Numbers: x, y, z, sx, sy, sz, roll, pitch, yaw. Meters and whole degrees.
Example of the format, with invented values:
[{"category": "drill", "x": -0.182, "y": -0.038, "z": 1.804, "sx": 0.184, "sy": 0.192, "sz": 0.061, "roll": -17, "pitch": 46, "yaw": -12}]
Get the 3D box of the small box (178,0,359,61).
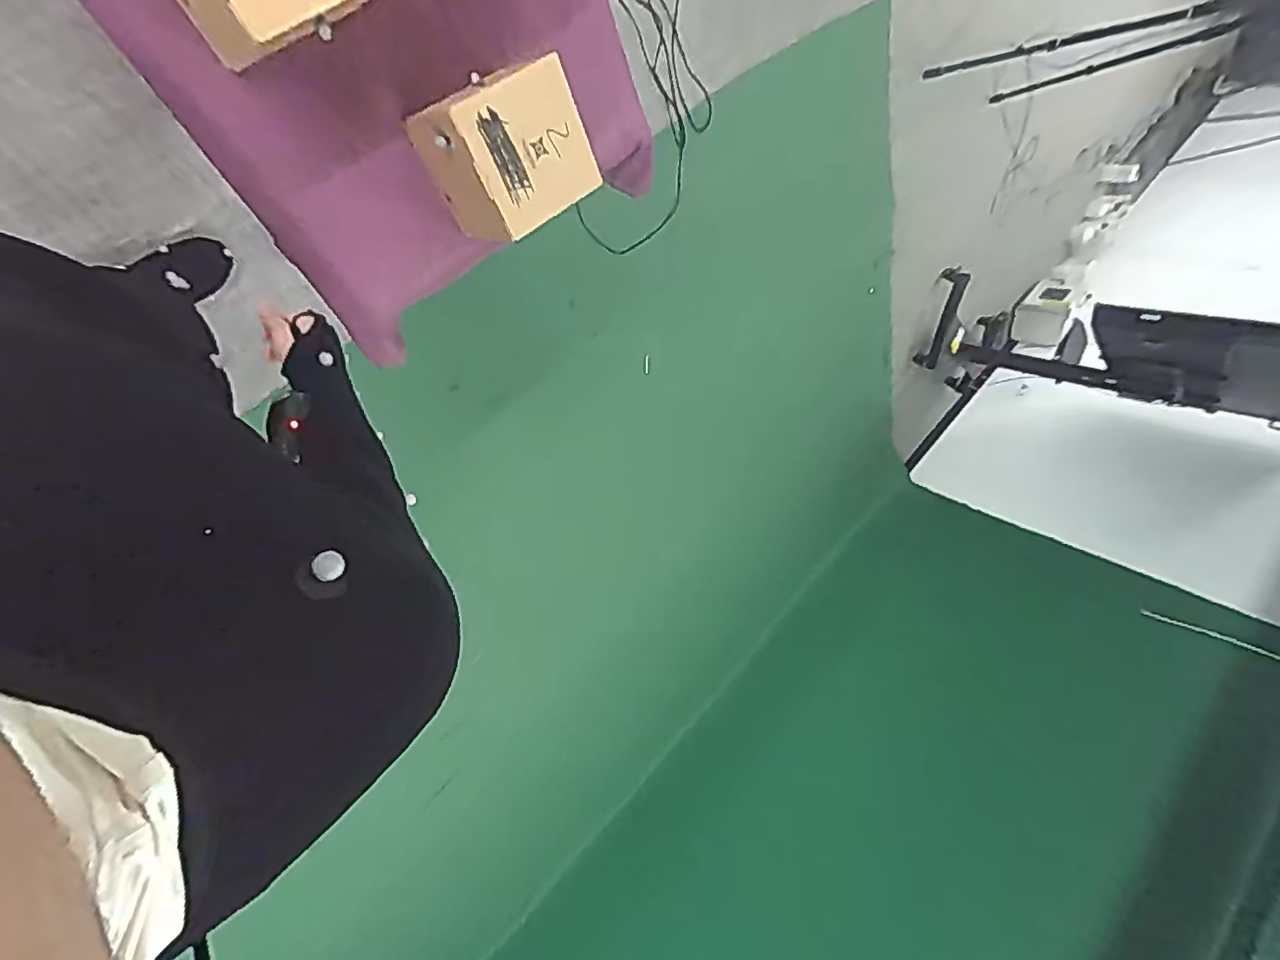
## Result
[{"category": "small box", "x": -0.393, "y": -0.559, "z": 0.542, "sx": 0.179, "sy": 0.176, "sz": 0.168, "roll": -45, "pitch": 136, "yaw": -17}]
